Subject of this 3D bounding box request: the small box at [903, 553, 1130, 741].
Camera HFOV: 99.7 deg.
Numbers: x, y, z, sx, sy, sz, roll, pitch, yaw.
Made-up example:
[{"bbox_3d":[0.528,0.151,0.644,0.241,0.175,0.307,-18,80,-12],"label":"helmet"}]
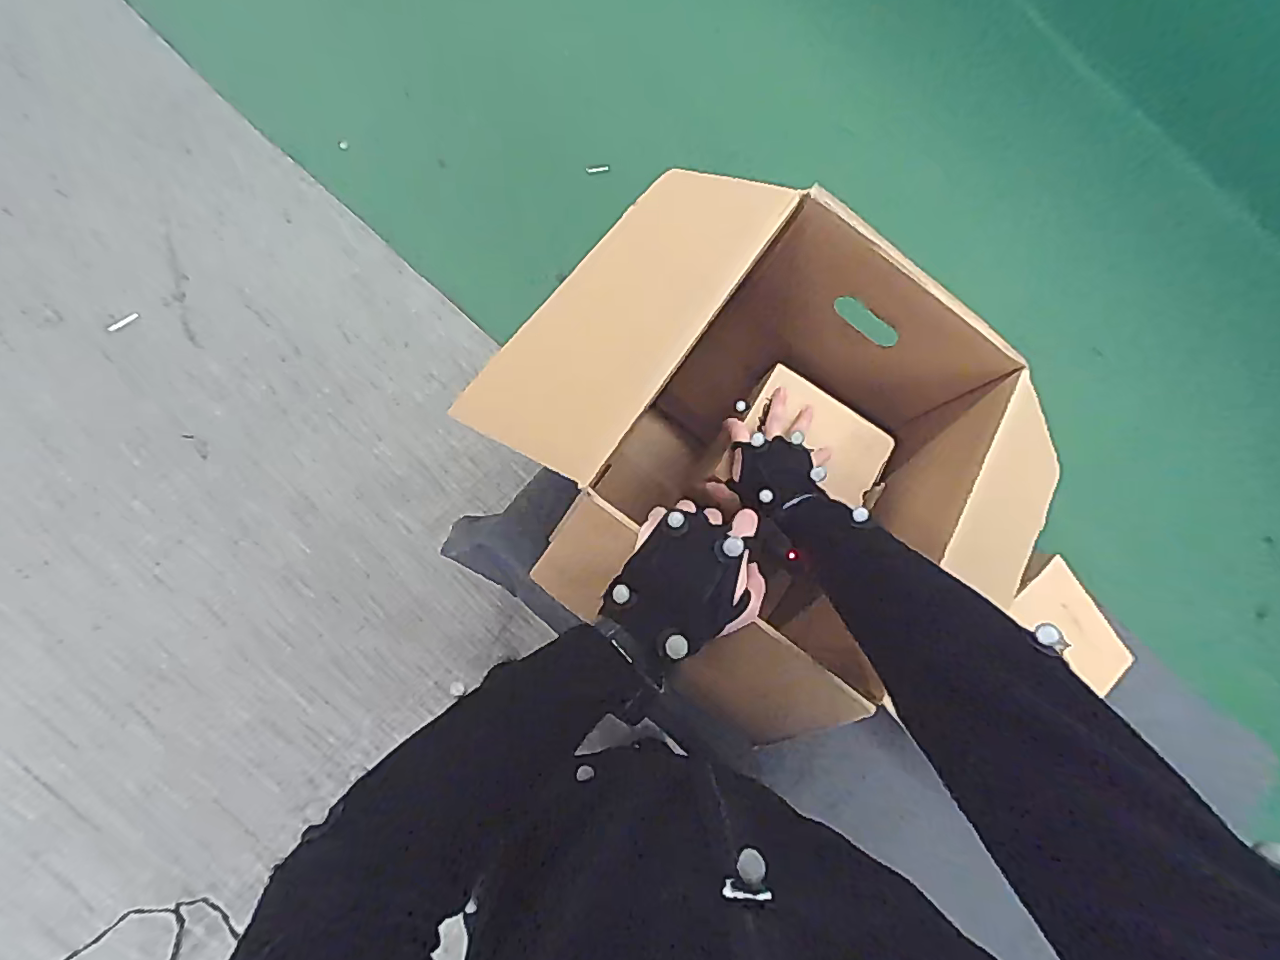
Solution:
[{"bbox_3d":[0.504,0.224,0.753,0.179,0.176,0.168,-32,87,-20],"label":"small box"}]
